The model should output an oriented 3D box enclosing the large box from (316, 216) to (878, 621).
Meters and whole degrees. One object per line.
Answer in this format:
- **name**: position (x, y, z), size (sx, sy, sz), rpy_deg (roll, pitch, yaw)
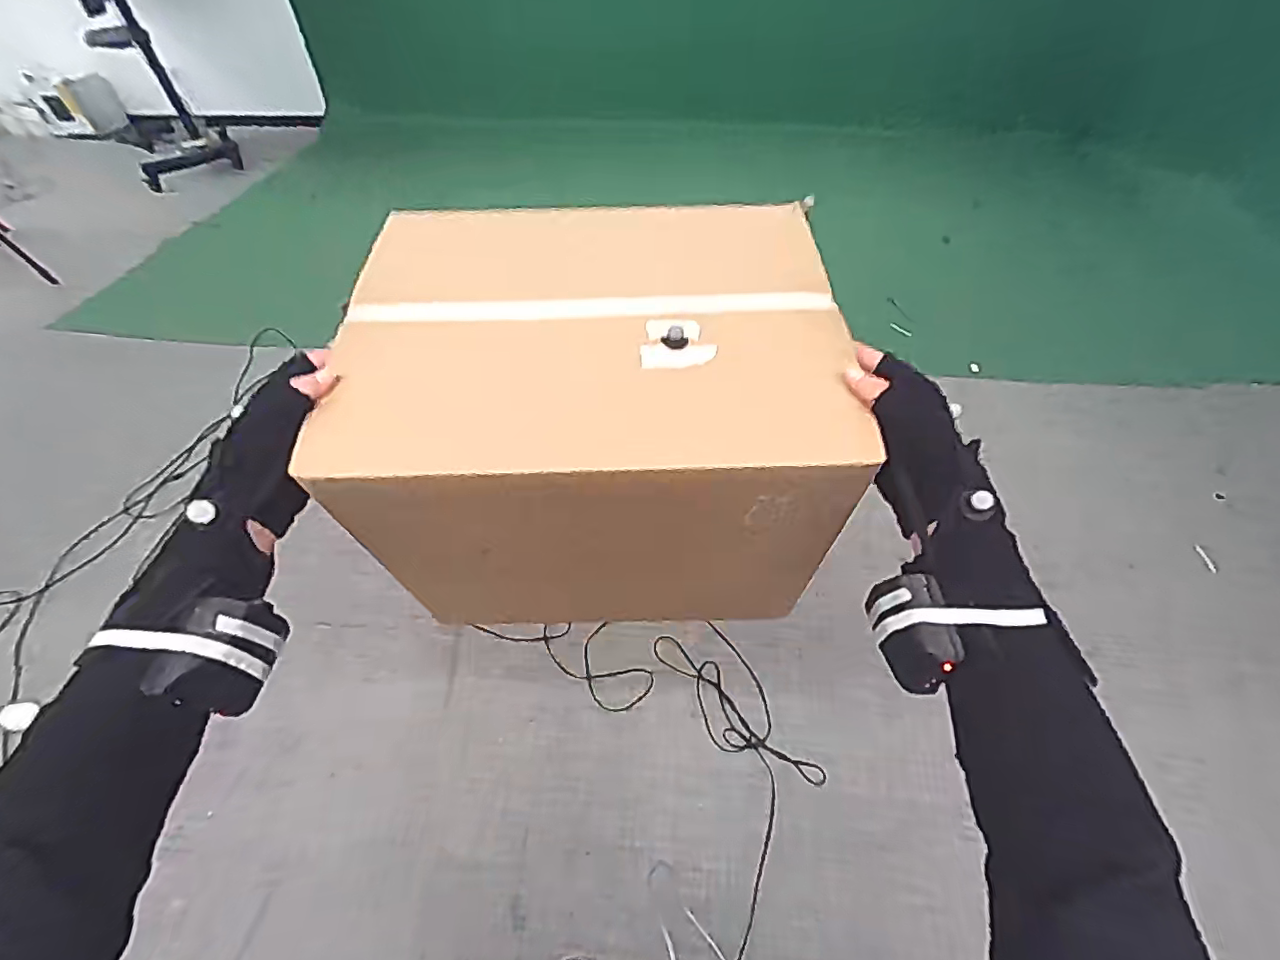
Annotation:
- **large box**: position (-0.035, -0.052, 0.581), size (0.408, 0.320, 0.320), rpy_deg (-1, 58, -1)
